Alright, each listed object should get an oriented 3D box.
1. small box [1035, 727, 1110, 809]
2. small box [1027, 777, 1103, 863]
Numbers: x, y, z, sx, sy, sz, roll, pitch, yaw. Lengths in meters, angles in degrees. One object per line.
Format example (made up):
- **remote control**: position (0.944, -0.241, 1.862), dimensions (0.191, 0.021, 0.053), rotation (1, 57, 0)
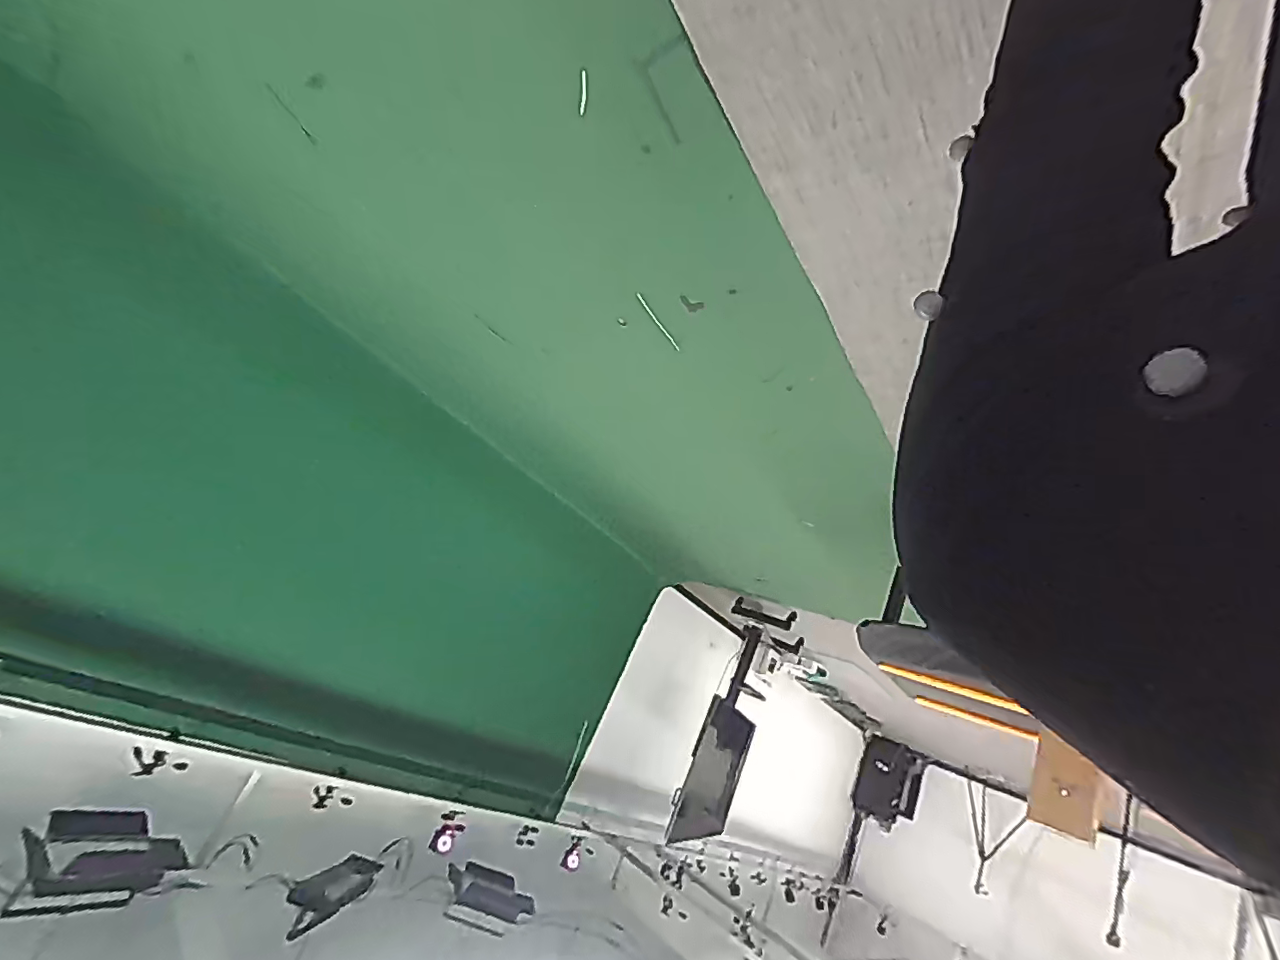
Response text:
- **small box**: position (1.438, 0.949, 1.792), dimensions (0.168, 0.176, 0.179), rotation (2, 147, 47)
- **small box**: position (1.369, 1.088, 1.737), dimensions (0.168, 0.176, 0.179), rotation (3, 149, 46)
